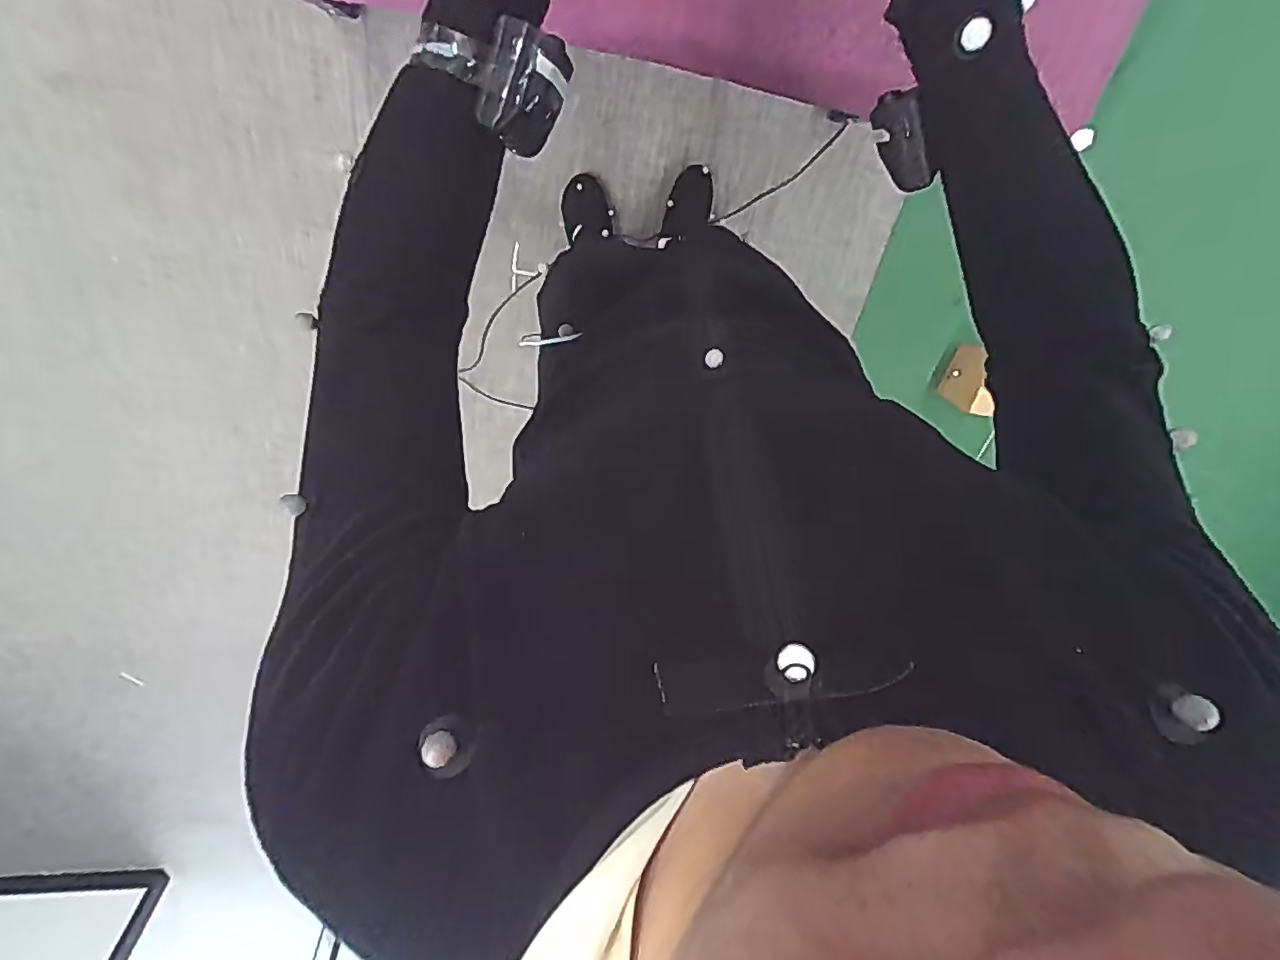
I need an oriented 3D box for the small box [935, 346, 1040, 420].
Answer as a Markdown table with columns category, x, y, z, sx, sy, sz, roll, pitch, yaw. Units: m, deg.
| category | x | y | z | sx | sy | sz | roll | pitch | yaw |
| --- | --- | --- | --- | --- | --- | --- | --- | --- | --- |
| small box | 1.066 | -0.302 | 1.673 | 0.179 | 0.176 | 0.168 | 7 | 120 | -12 |
